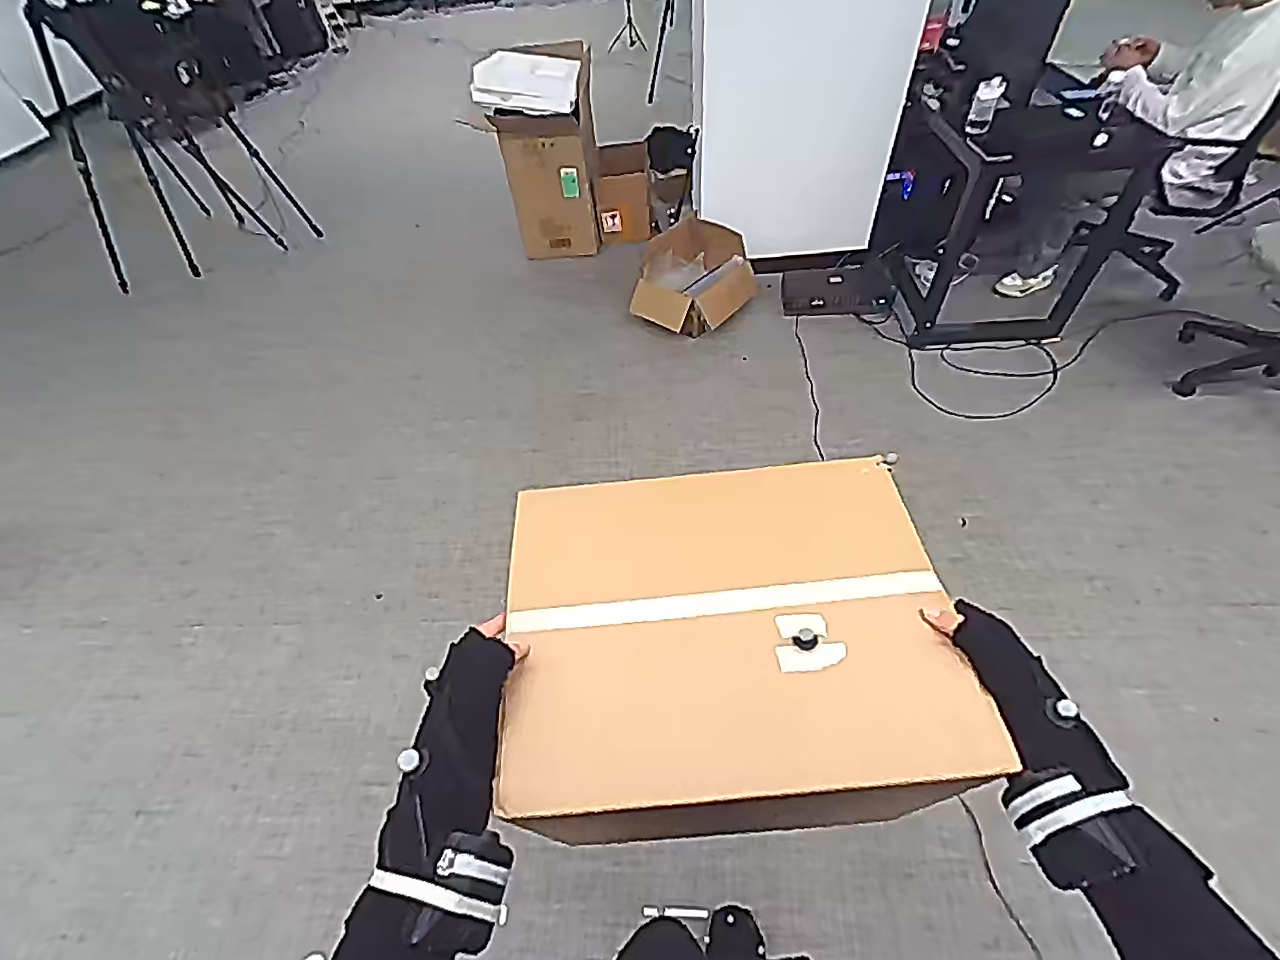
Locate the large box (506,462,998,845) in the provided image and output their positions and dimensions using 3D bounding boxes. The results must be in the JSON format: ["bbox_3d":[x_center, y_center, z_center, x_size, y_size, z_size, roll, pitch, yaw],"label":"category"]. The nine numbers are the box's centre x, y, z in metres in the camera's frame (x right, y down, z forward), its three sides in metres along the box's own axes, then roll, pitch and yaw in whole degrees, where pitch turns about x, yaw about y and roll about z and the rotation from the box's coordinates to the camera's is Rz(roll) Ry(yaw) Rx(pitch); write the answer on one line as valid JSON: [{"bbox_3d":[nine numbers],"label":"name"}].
[{"bbox_3d":[0.086,0.211,0.635,0.408,0.320,0.320,-6,52,1],"label":"large box"}]
